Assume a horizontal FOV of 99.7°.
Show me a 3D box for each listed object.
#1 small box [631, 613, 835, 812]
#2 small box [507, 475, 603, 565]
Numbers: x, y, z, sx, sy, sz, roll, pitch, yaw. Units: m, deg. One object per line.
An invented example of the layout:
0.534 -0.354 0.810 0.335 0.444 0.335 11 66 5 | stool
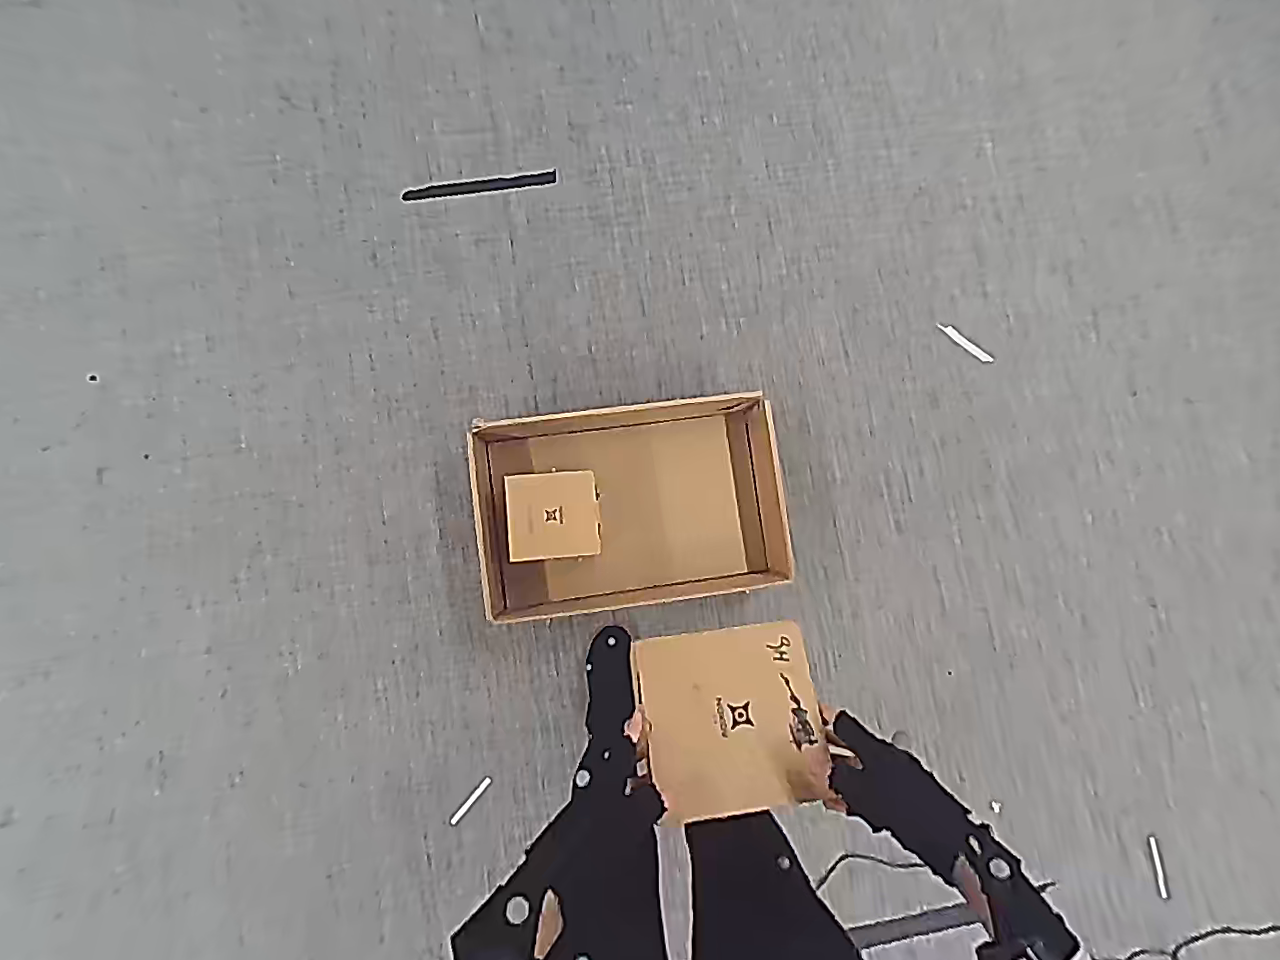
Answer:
0.088 0.255 0.604 0.179 0.176 0.168 -7 67 -4 | small box
-0.171 0.081 1.116 0.179 0.176 0.168 -4 85 -5 | small box
